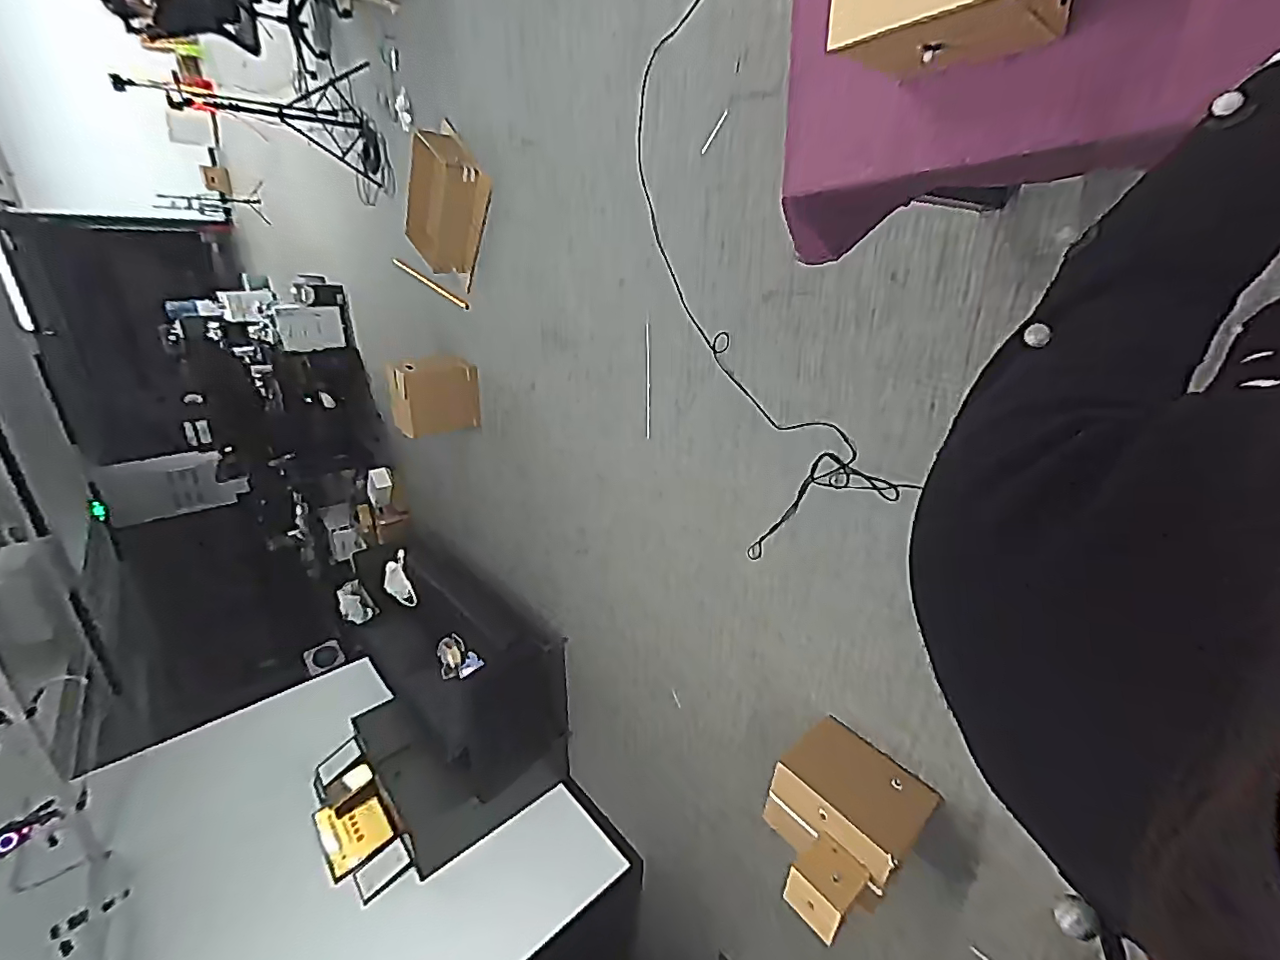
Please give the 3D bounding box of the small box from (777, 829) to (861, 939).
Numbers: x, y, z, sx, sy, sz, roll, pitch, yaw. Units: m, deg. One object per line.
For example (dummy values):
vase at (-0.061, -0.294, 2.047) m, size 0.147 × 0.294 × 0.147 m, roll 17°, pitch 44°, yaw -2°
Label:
small box at (0.545, 1.213, 1.637) m, size 0.168 × 0.176 × 0.179 m, roll 29°, pitch 128°, yaw 41°

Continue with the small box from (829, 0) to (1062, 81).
small box at (0.321, -0.535, 0.546) m, size 0.179 × 0.176 × 0.168 m, roll 22°, pitch 120°, yaw 45°
